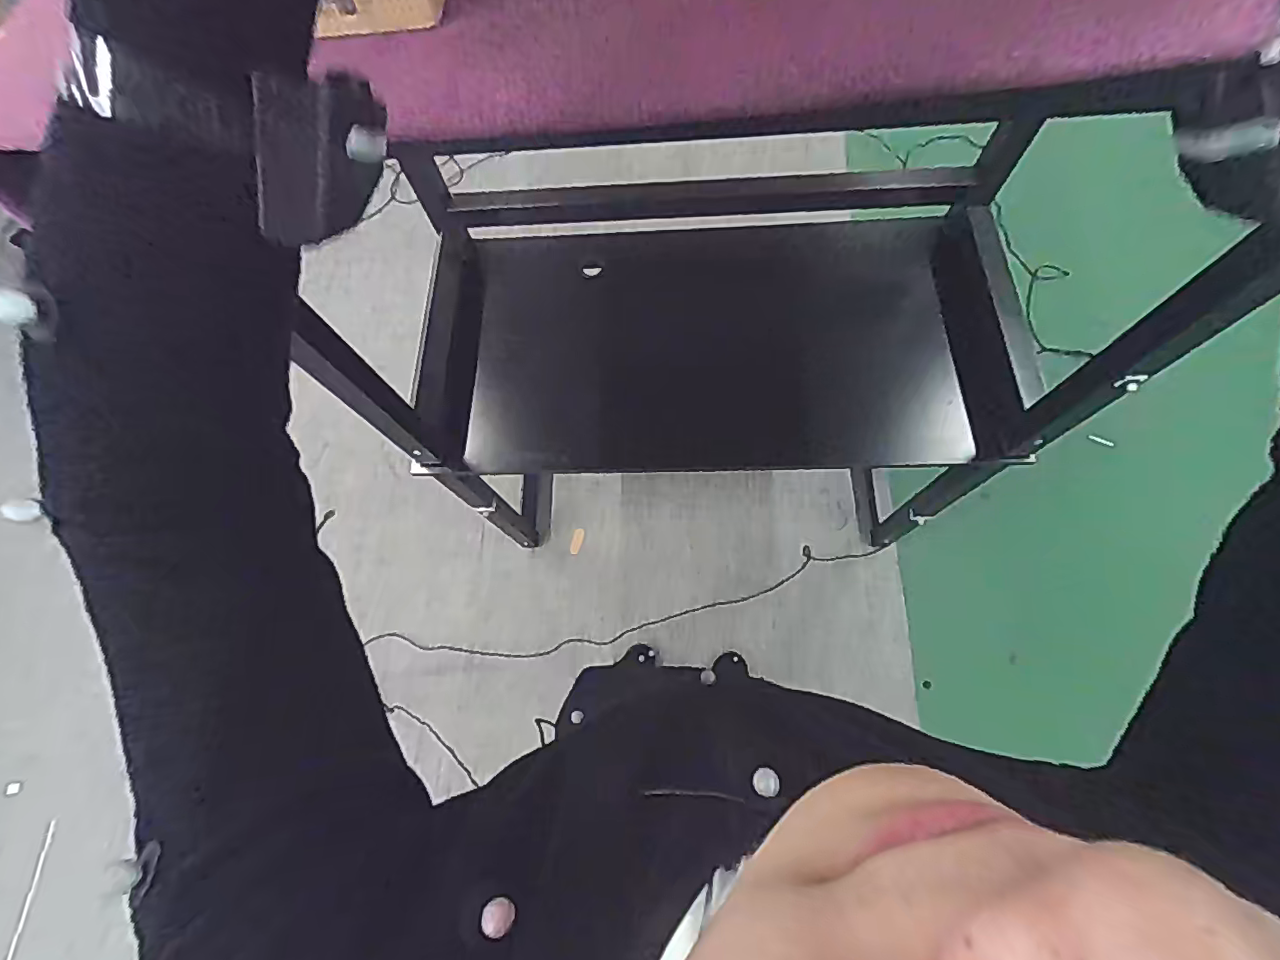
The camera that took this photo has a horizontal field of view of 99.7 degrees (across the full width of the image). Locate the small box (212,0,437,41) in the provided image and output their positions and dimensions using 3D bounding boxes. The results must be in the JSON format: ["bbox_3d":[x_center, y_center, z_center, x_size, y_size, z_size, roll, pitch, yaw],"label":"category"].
[{"bbox_3d":[-0.237,-0.438,0.357,0.168,0.176,0.179,-1,70,4],"label":"small box"}]
